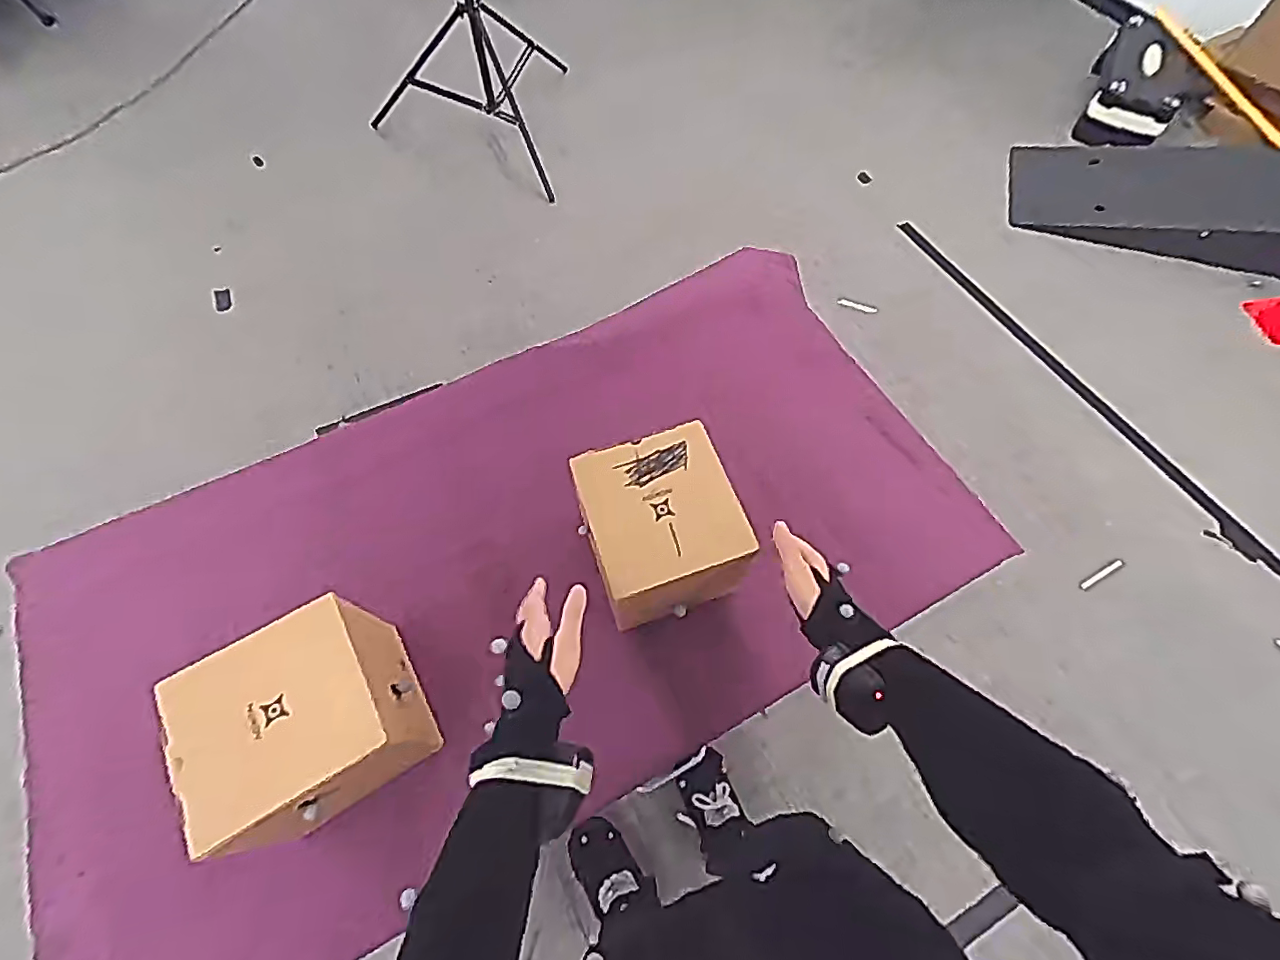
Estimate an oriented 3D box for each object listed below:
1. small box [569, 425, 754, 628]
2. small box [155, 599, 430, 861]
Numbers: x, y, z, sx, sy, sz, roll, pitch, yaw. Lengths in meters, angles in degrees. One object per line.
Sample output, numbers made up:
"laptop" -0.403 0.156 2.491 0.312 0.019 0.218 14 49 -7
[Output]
"small box" 0.019 0.064 0.672 0.168 0.176 0.179 -17 66 -8
"small box" -0.347 0.256 0.577 0.179 0.176 0.168 -29 68 -14
